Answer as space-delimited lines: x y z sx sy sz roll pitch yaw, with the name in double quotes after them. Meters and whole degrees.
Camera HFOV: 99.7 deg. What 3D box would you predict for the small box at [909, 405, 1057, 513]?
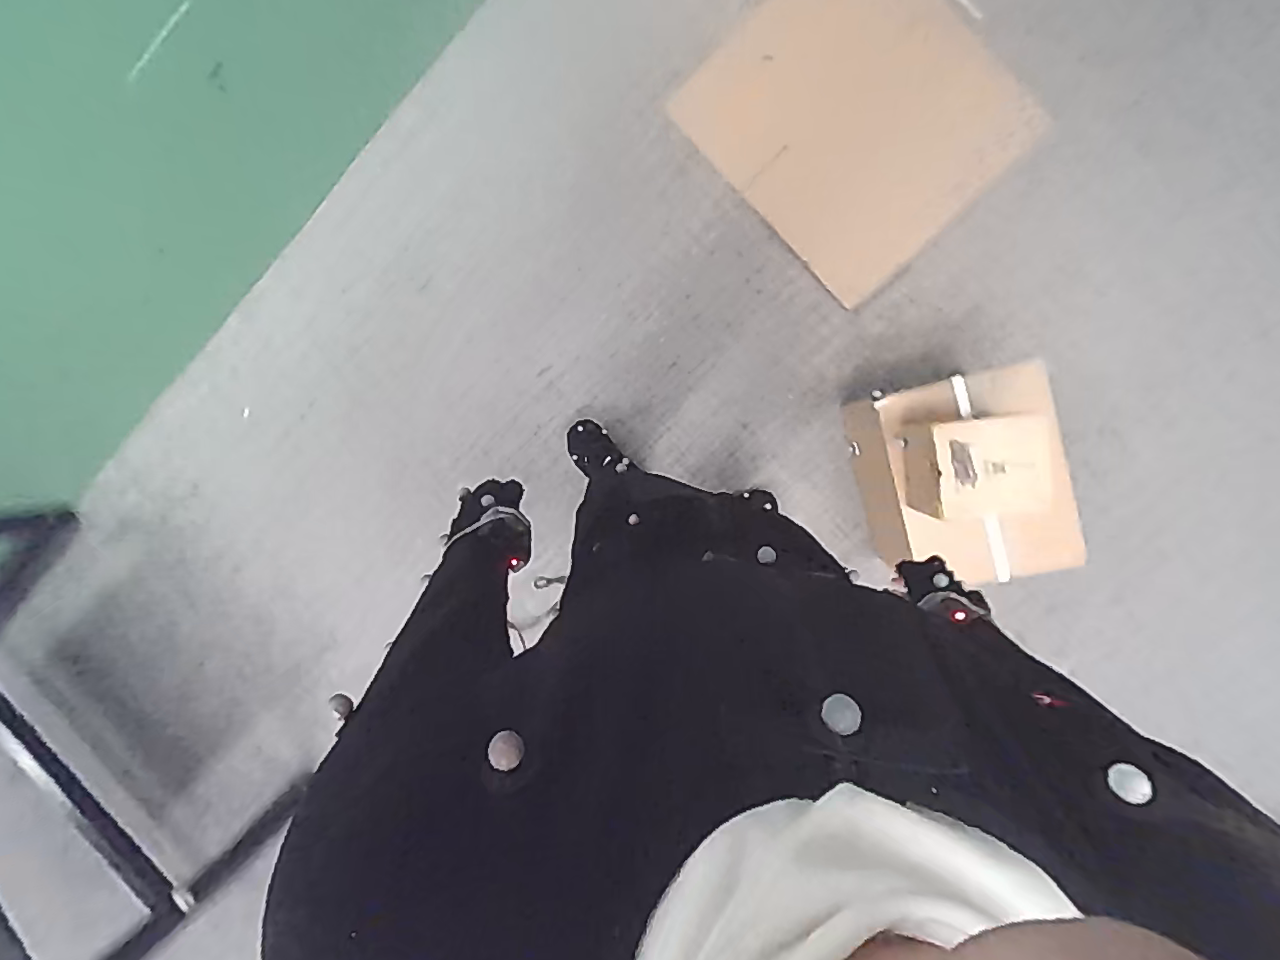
0.594 -0.038 0.962 0.179 0.176 0.168 -6 95 9 "small box"
